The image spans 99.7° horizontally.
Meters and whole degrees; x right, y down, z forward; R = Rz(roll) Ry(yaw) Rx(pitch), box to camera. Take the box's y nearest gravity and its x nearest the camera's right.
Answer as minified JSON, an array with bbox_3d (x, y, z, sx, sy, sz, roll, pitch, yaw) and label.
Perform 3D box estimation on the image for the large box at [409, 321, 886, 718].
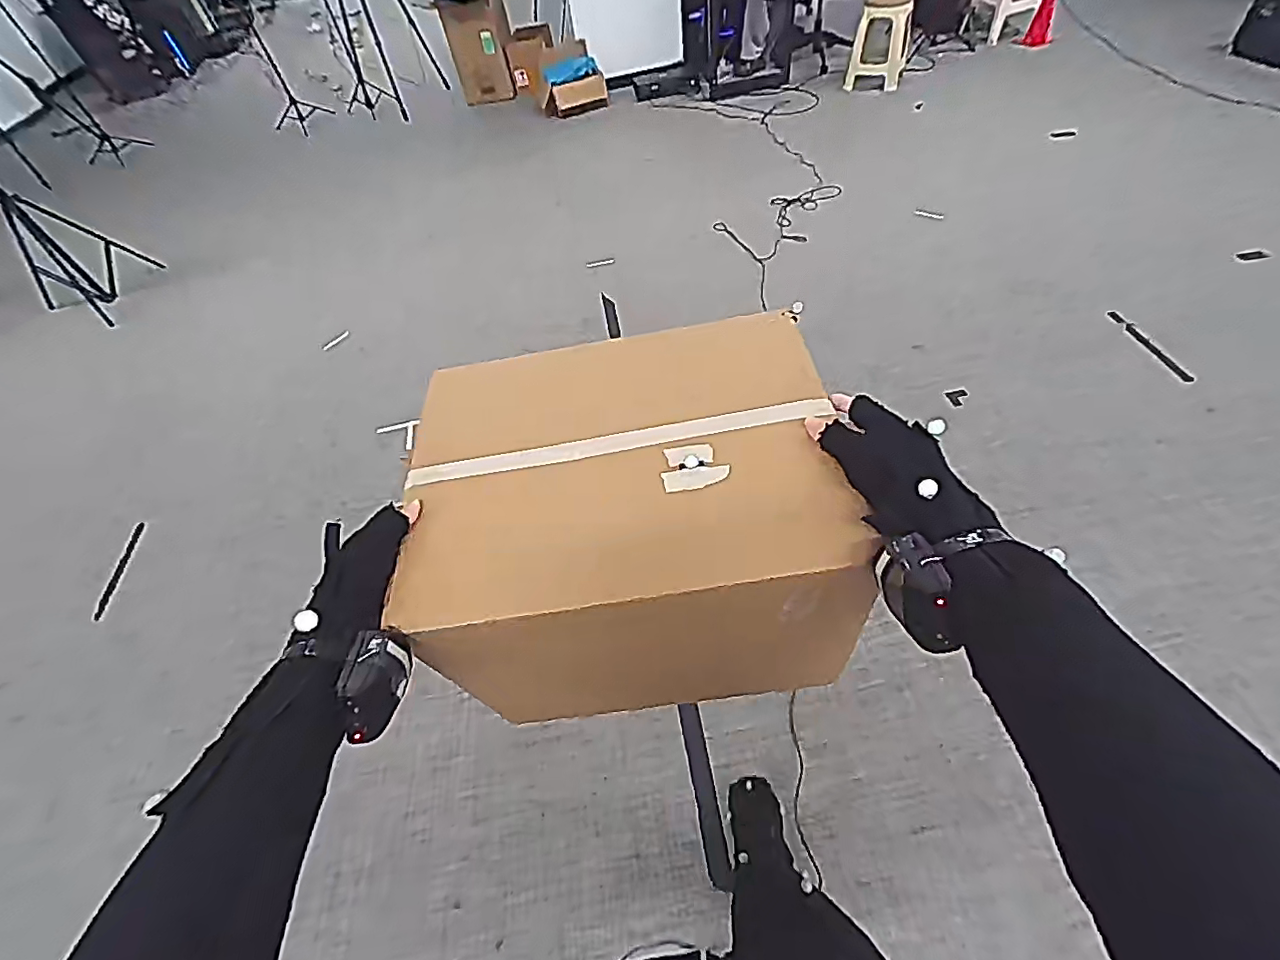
[{"bbox_3d":[0.006,0.060,0.644,0.408,0.320,0.320,-9,53,3],"label":"large box"}]
